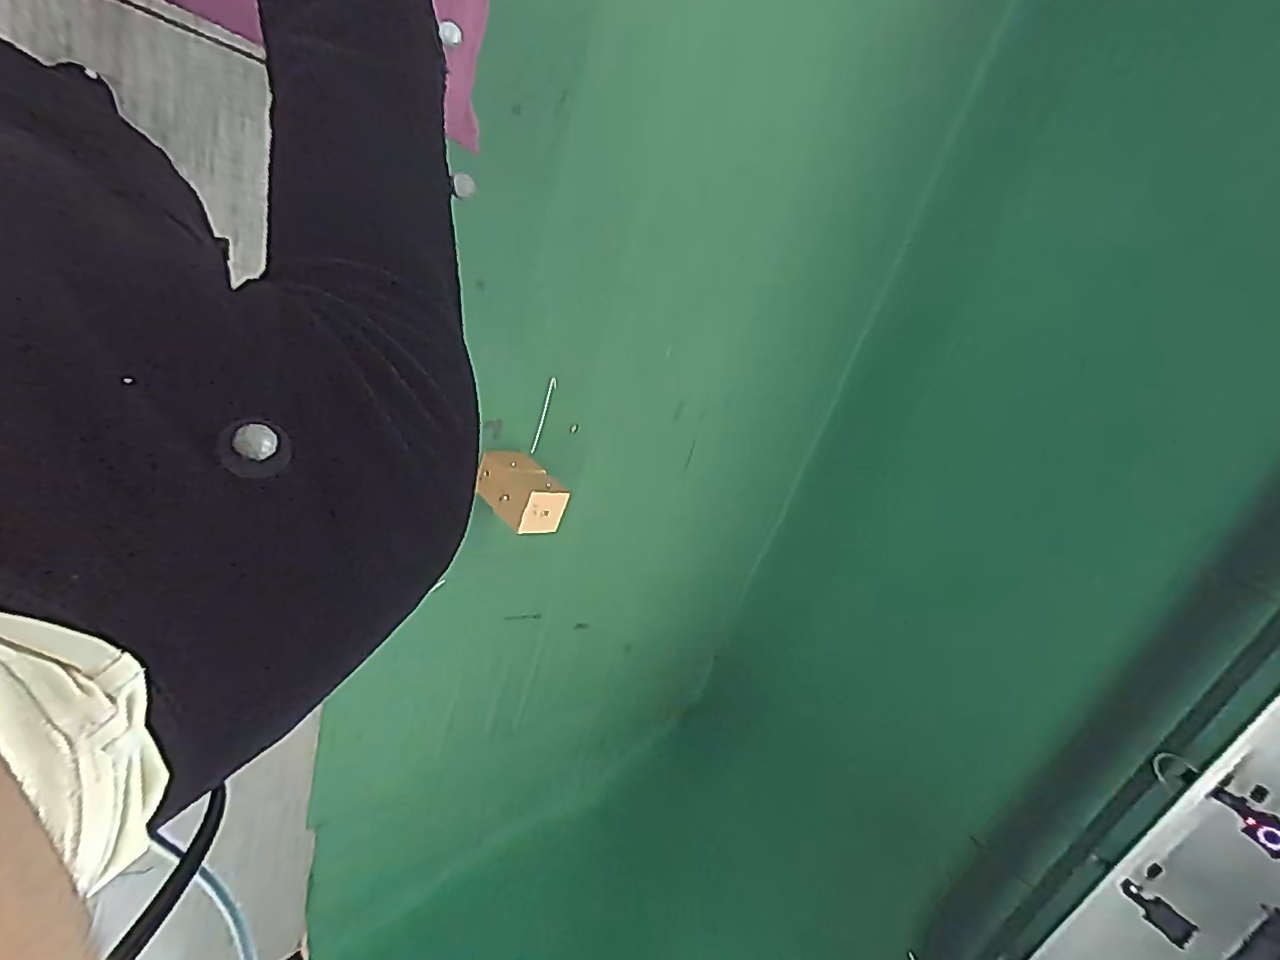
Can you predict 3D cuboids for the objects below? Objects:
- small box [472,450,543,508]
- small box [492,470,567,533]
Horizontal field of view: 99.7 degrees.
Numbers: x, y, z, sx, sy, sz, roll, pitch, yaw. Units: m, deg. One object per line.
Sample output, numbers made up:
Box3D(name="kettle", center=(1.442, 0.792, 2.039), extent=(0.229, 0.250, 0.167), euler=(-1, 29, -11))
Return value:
Box3D(name="small box", center=(-0.504, -0.003, 2.049), extent=(0.179, 0.176, 0.168), euler=(1, 117, -48))
Box3D(name="small box", center=(-0.399, 0.076, 1.950), extent=(0.179, 0.176, 0.168), euler=(4, 115, -49))
